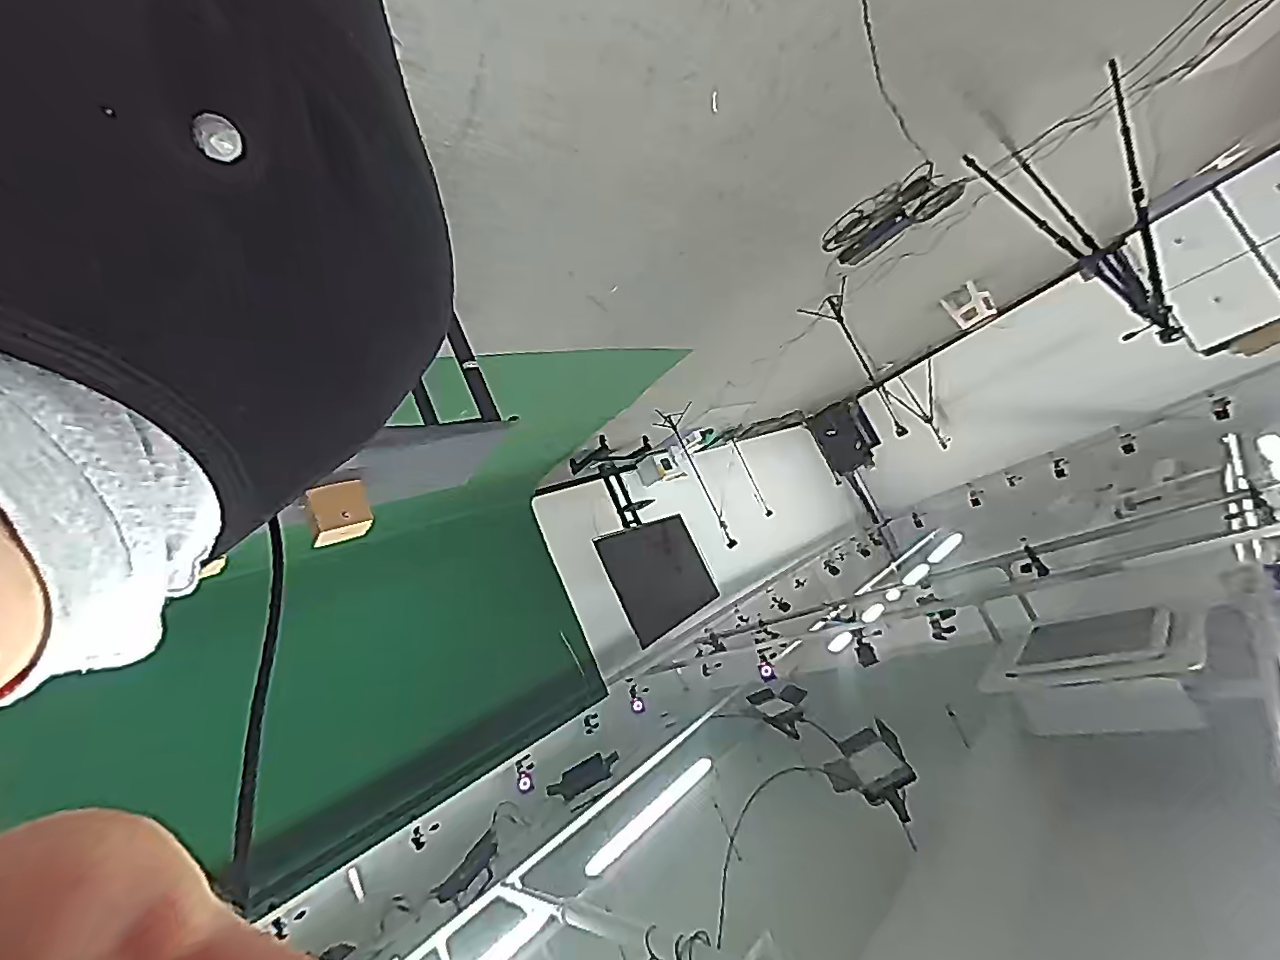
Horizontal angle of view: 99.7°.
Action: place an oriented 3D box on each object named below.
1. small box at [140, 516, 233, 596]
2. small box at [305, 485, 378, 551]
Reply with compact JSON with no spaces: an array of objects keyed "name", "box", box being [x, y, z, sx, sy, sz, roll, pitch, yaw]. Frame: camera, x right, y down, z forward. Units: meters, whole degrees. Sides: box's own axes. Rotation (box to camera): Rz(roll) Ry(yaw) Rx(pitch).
[{"name":"small box","box":[-1.378,0.225,1.643,0.179,0.176,0.168,-16,167,-48]},{"name":"small box","box":[-1.076,0.132,1.945,0.179,0.176,0.168,-15,165,-41]}]
